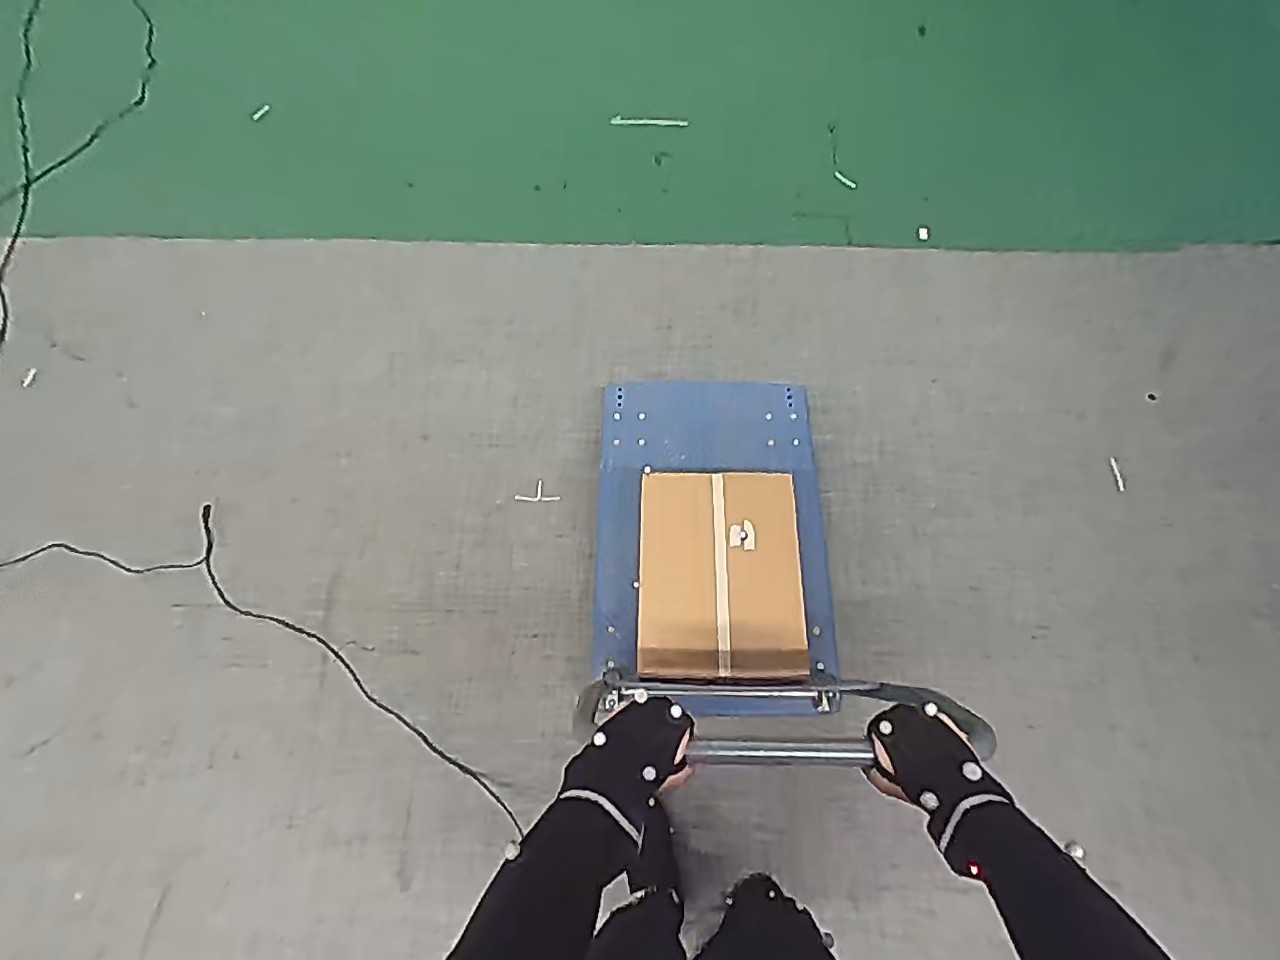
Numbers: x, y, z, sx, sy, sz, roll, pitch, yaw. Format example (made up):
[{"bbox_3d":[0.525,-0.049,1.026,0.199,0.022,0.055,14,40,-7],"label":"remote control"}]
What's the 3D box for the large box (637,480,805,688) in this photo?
[{"bbox_3d":[0.157,0.243,1.206,0.320,0.320,0.408,0,67,1],"label":"large box"}]
